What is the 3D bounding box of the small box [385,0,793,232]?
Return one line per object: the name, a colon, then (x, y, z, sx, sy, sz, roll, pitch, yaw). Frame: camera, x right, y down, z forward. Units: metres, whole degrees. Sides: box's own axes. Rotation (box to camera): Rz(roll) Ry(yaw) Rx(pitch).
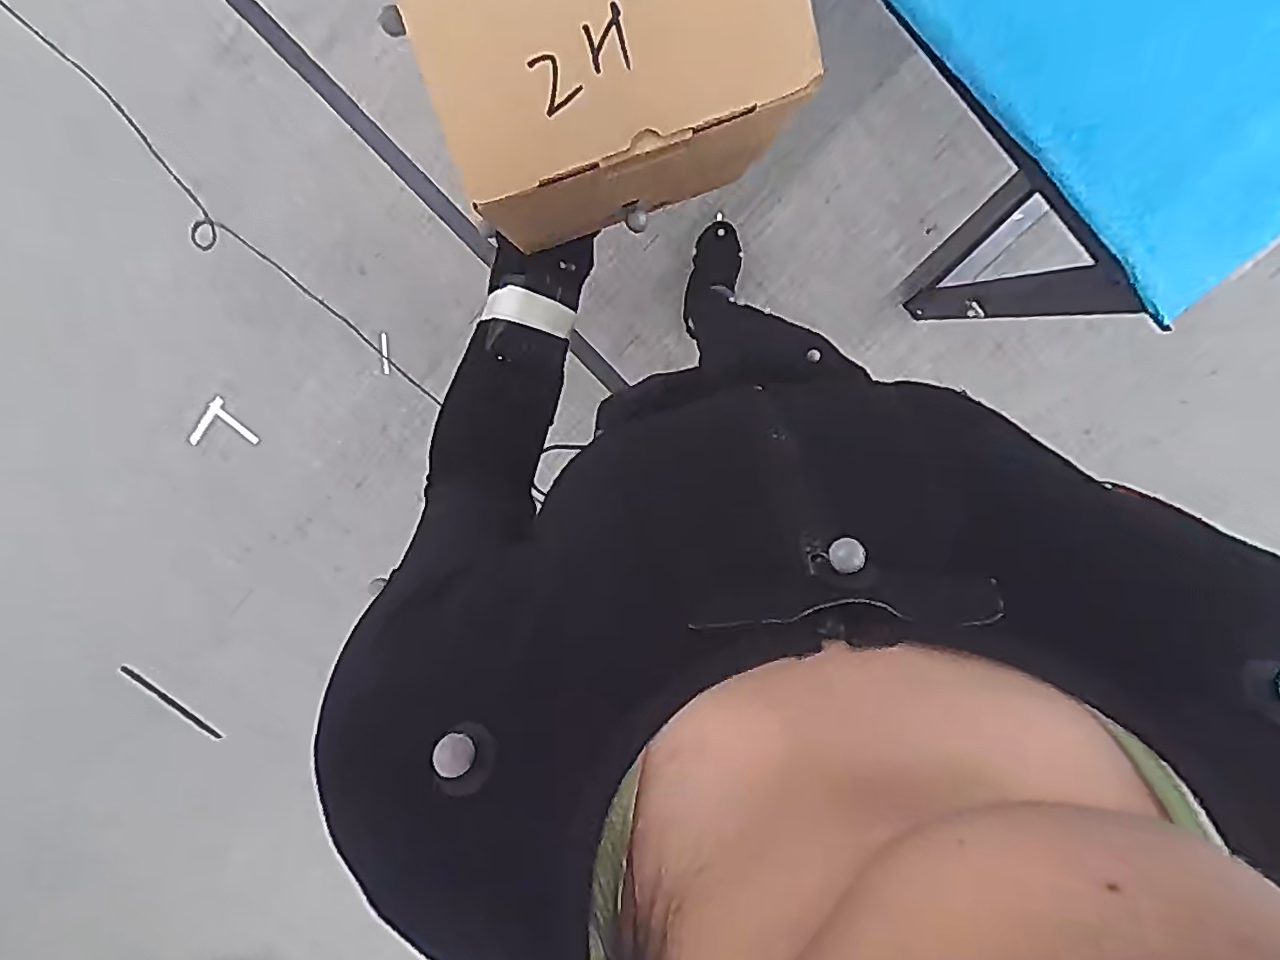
small box: (-0.033, -0.252, 0.293, 0.168, 0.176, 0.179, -14, 109, 2)
